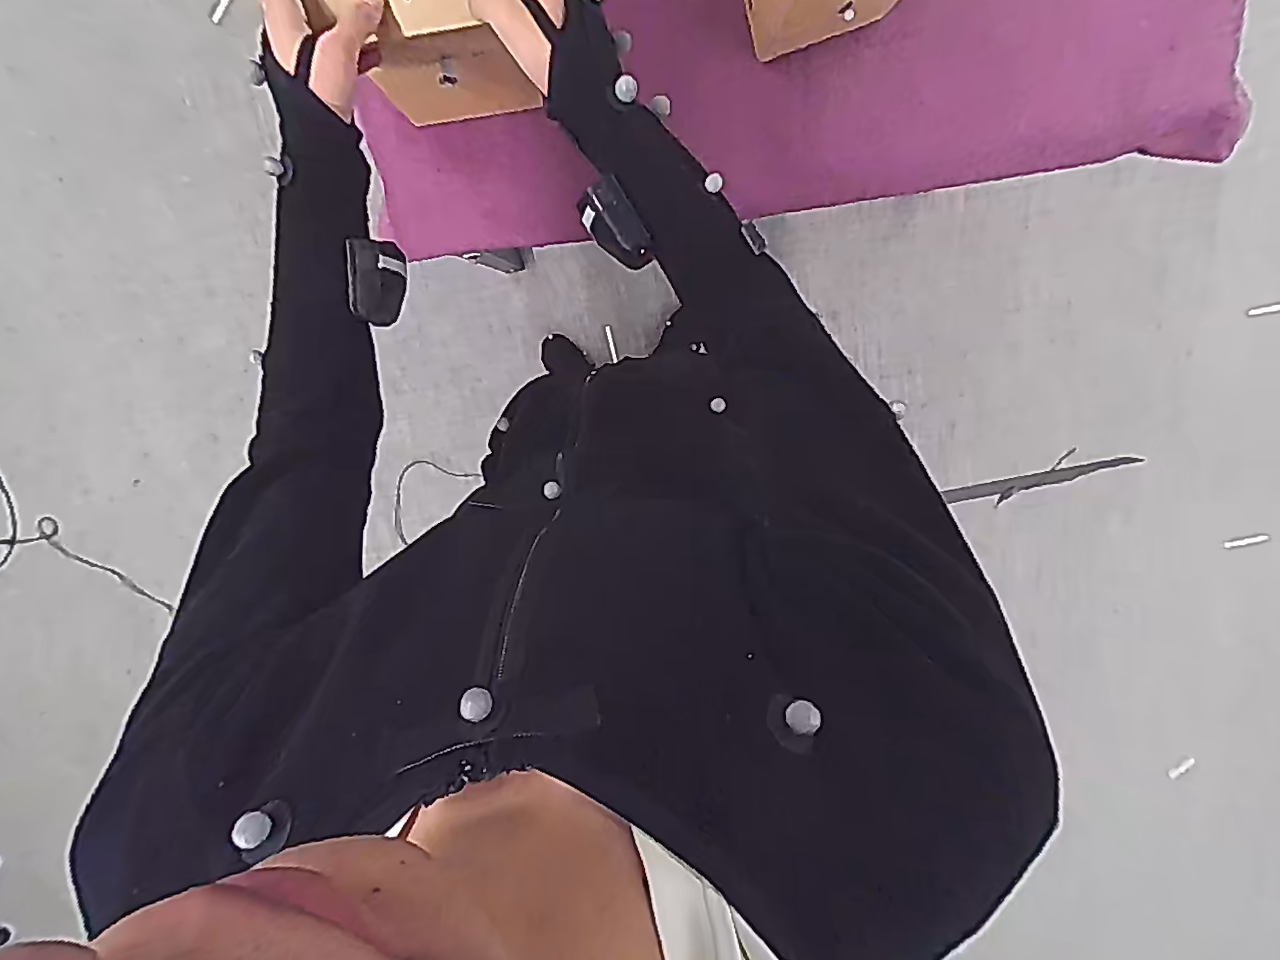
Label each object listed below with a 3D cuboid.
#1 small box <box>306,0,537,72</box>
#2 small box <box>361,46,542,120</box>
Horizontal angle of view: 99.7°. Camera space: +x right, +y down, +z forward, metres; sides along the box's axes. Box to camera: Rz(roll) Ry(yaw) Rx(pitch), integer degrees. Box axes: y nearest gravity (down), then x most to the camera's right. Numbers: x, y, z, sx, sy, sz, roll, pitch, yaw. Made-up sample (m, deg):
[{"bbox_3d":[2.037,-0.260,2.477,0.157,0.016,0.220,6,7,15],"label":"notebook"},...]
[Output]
[{"bbox_3d":[-0.188,-0.466,0.450,0.168,0.176,0.179,-9,123,0],"label":"small box"},{"bbox_3d":[-0.220,-0.544,0.625,0.179,0.176,0.168,-9,107,-2],"label":"small box"}]
